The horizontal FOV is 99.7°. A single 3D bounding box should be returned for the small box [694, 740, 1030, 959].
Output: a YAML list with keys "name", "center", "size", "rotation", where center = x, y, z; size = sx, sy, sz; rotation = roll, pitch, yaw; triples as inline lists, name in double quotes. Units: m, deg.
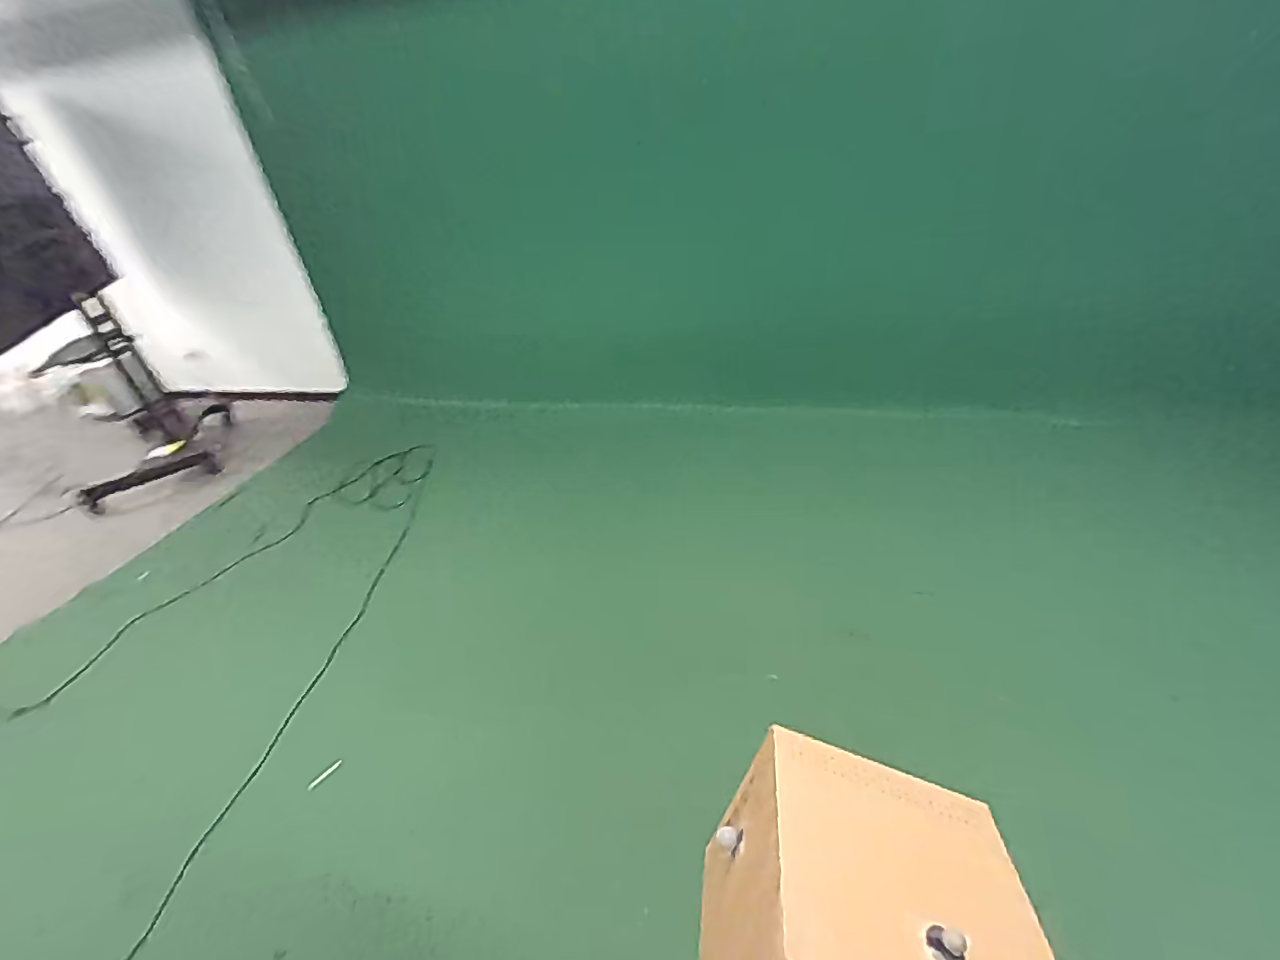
- name: "small box"
  center: [0.144, 0.321, 0.379]
  size: [0.179, 0.168, 0.176]
  rotation: [19, 23, 4]
